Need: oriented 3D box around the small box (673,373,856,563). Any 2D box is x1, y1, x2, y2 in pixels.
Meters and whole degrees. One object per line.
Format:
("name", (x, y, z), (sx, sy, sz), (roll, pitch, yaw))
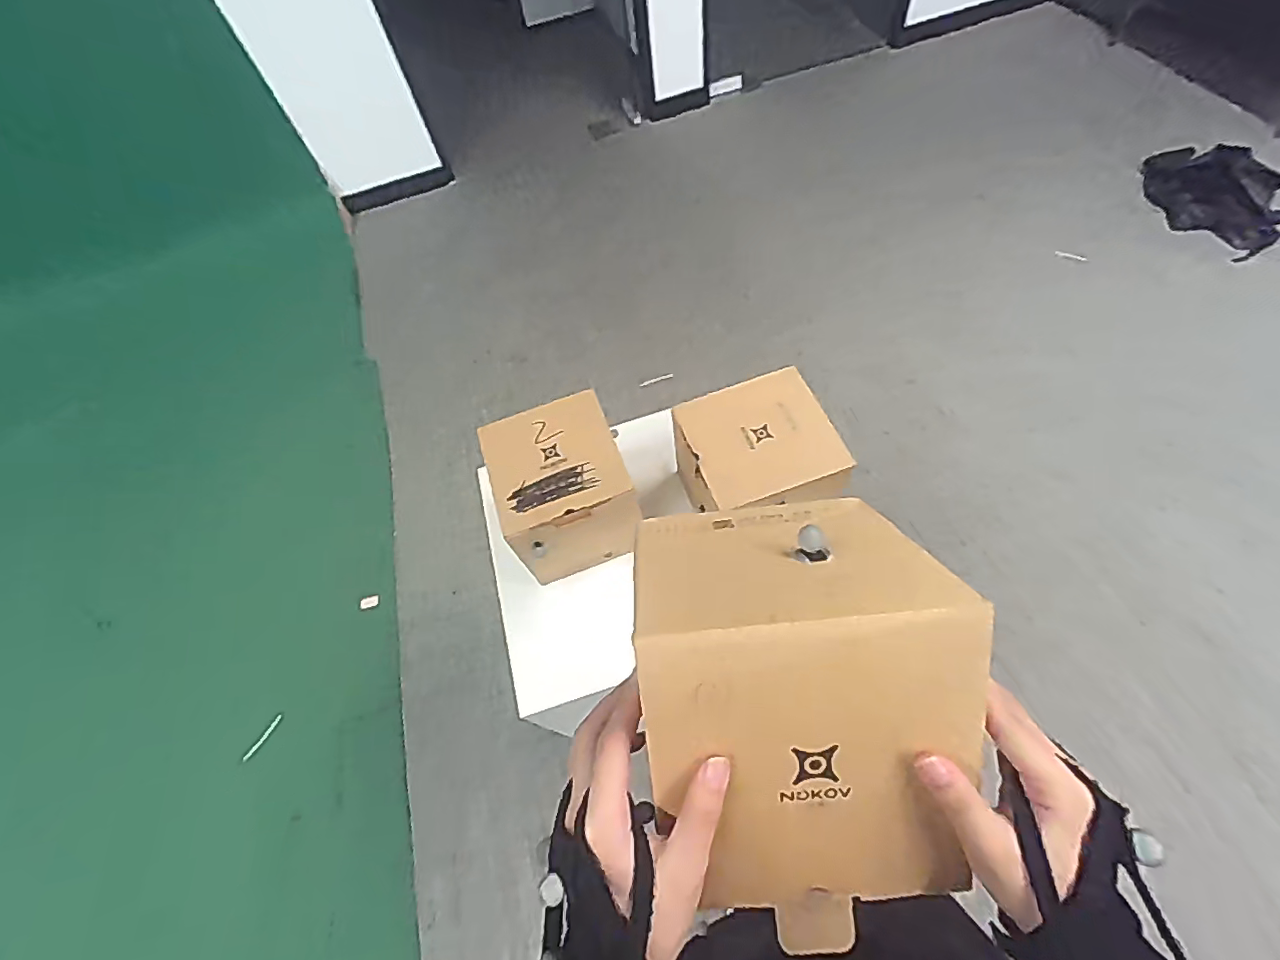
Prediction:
("small box", (0.157, -0.009, 0.731), (0.179, 0.176, 0.168), (-19, 60, -4))
